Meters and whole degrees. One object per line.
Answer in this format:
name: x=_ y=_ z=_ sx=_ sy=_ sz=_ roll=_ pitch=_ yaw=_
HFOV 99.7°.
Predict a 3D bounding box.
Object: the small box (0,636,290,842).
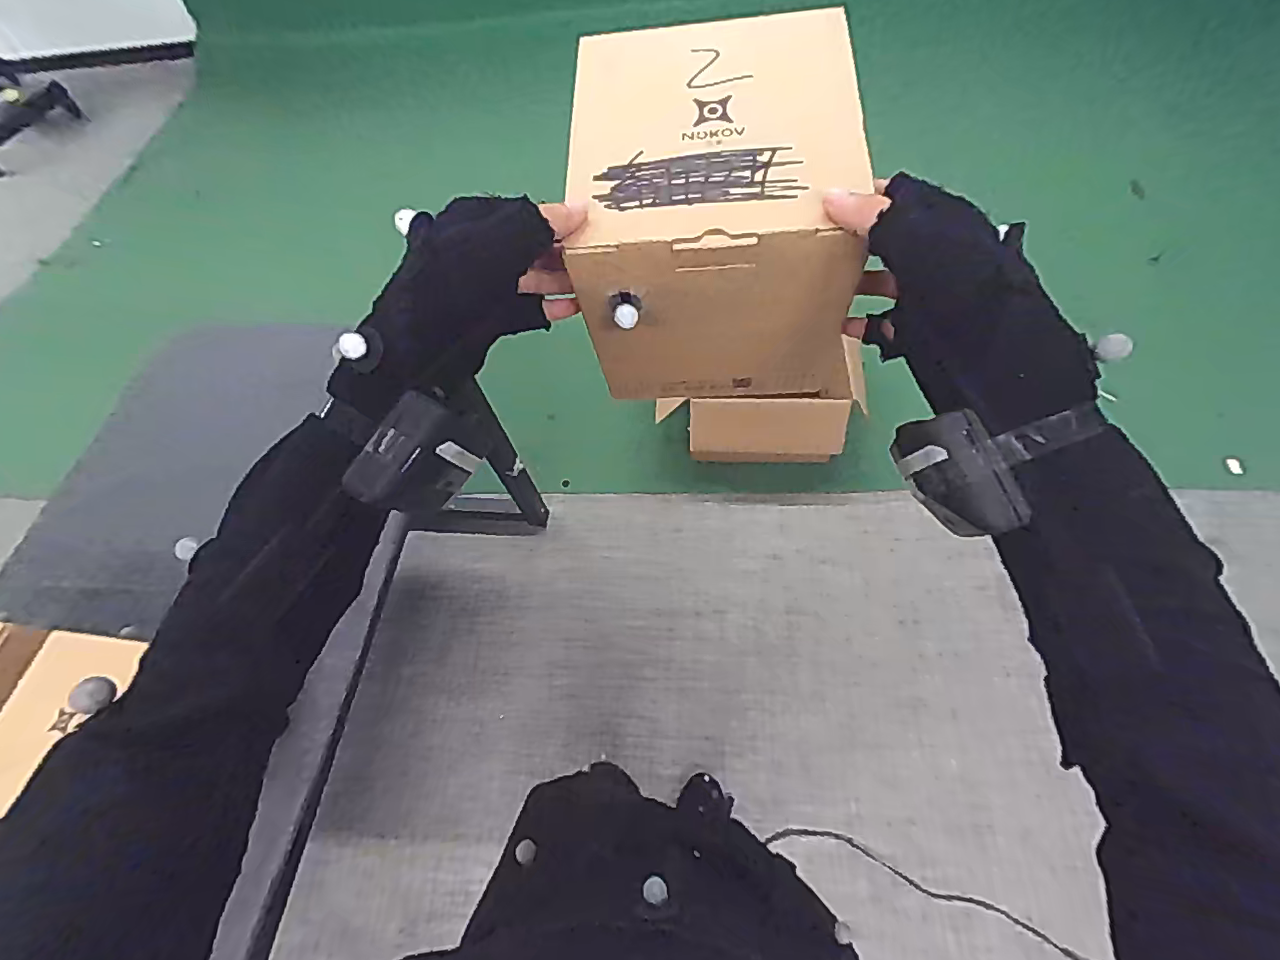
small box: x=-0.545 y=0.282 z=0.596 sx=0.179 sy=0.176 sz=0.168 roll=4 pitch=62 yaw=9
